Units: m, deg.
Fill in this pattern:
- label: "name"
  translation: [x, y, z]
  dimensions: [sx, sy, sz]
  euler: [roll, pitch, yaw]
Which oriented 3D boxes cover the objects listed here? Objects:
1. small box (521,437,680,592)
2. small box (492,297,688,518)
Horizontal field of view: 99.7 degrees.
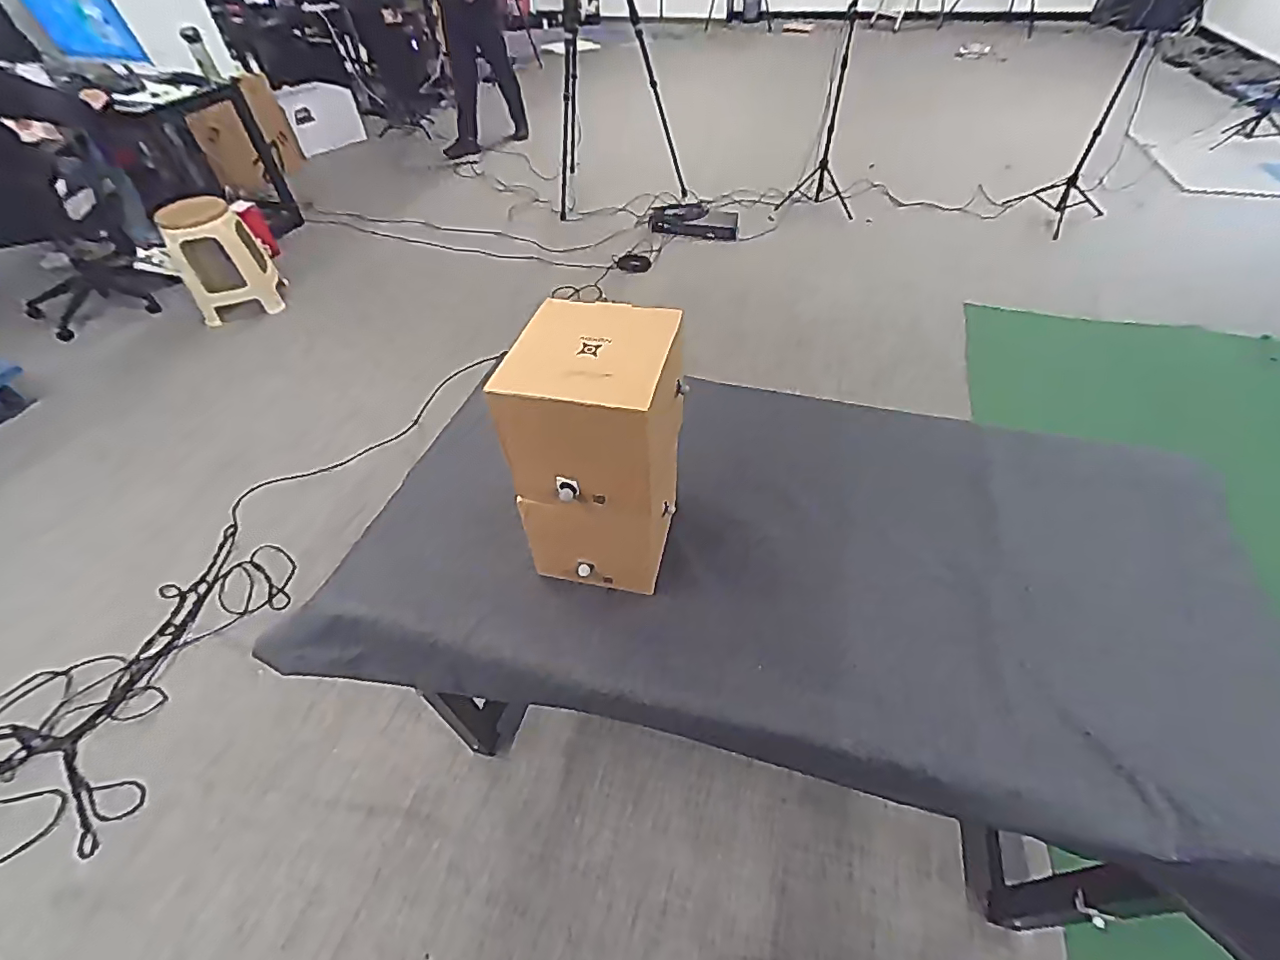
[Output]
- label: "small box"
  translation: [-0.043, 0.025, 0.739]
  dimensions: [0.168, 0.176, 0.179]
  euler: [8, 49, 10]
- label: "small box"
  translation: [-0.043, -0.084, 0.618]
  dimensions: [0.168, 0.176, 0.179]
  euler: [8, 50, 11]
